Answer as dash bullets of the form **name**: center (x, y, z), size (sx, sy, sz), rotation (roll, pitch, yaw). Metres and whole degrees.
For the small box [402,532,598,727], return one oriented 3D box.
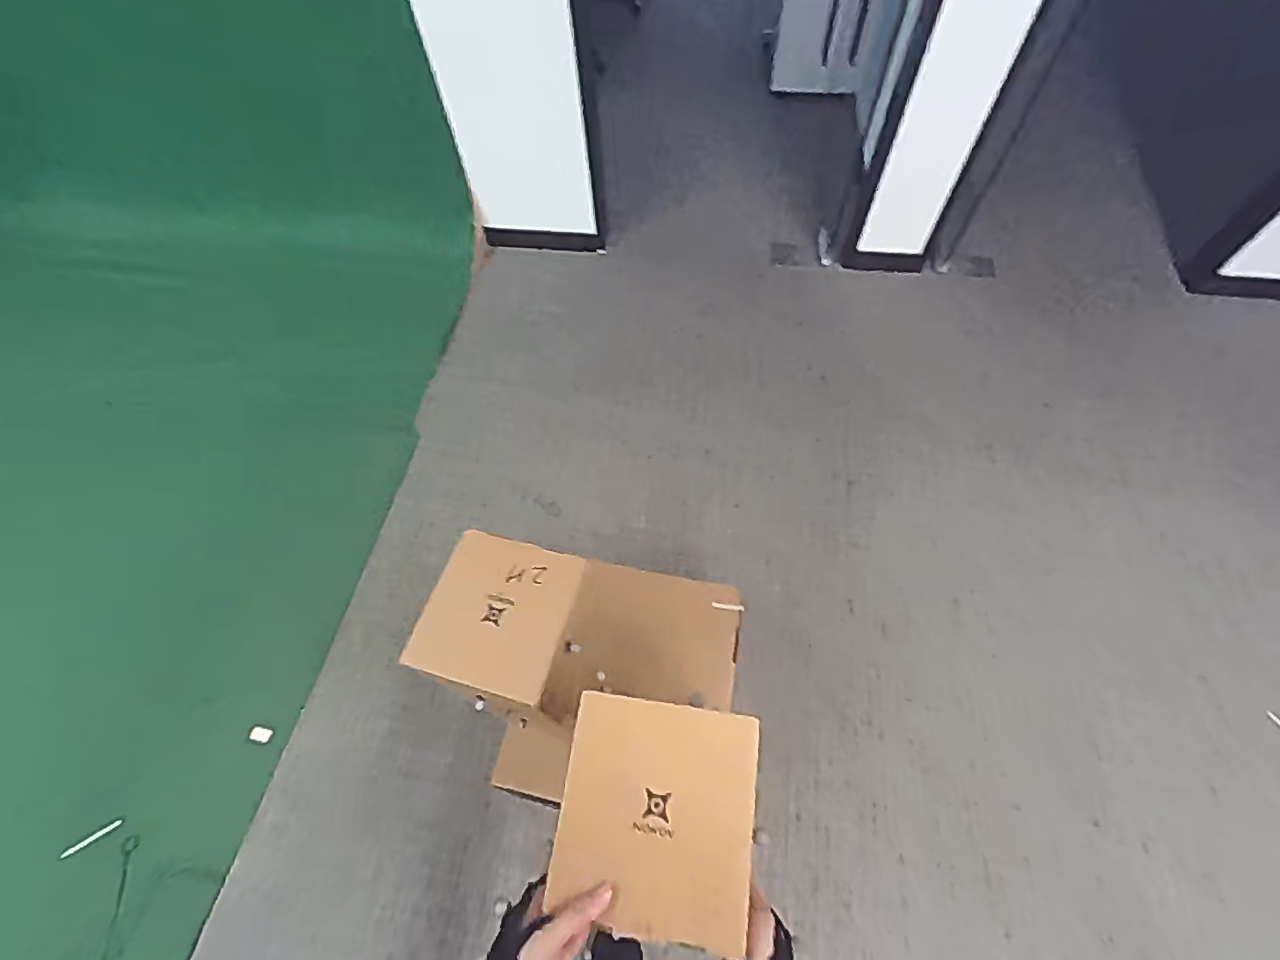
- **small box**: center (-0.159, 0.196, 0.688), size (0.168, 0.176, 0.179), rotation (14, 60, 10)

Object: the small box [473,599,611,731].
- **small box**: center (-0.154, 0.276, 0.830), size (0.179, 0.176, 0.168), rotation (6, 58, 9)

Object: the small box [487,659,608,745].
- **small box**: center (-0.156, 0.360, 0.975), size (0.168, 0.176, 0.179), rotation (9, 58, 8)

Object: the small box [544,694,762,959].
- **small box**: center (0.022, 0.316, 0.526), size (0.168, 0.176, 0.179), rotation (5, 67, 9)
